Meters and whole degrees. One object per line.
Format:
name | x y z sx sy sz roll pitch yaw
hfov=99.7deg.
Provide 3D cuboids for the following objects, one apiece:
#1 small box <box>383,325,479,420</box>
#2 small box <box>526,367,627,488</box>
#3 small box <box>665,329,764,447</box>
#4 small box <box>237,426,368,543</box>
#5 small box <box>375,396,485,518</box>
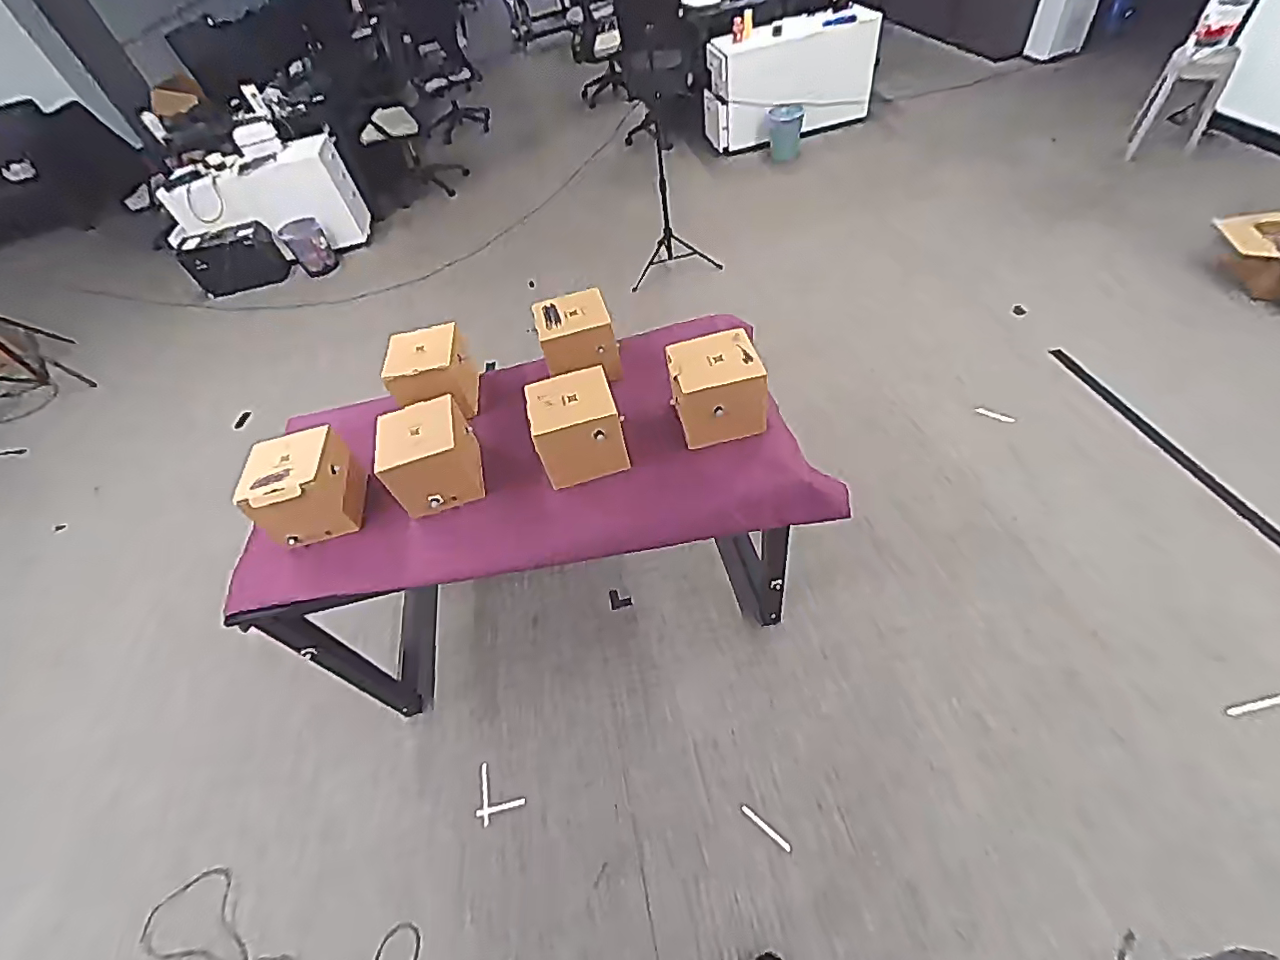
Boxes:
small box | -0.513 -0.258 1.357 0.168 0.176 0.179 -12 50 1
small box | -0.131 -0.110 1.164 0.179 0.176 0.168 -16 49 -2
small box | 0.165 -0.194 1.174 0.179 0.176 0.168 -14 50 1
small box | -0.717 0.017 1.174 0.168 0.176 0.179 -15 48 -2
small box | -0.451 -0.048 1.178 0.168 0.176 0.179 -18 50 -3
